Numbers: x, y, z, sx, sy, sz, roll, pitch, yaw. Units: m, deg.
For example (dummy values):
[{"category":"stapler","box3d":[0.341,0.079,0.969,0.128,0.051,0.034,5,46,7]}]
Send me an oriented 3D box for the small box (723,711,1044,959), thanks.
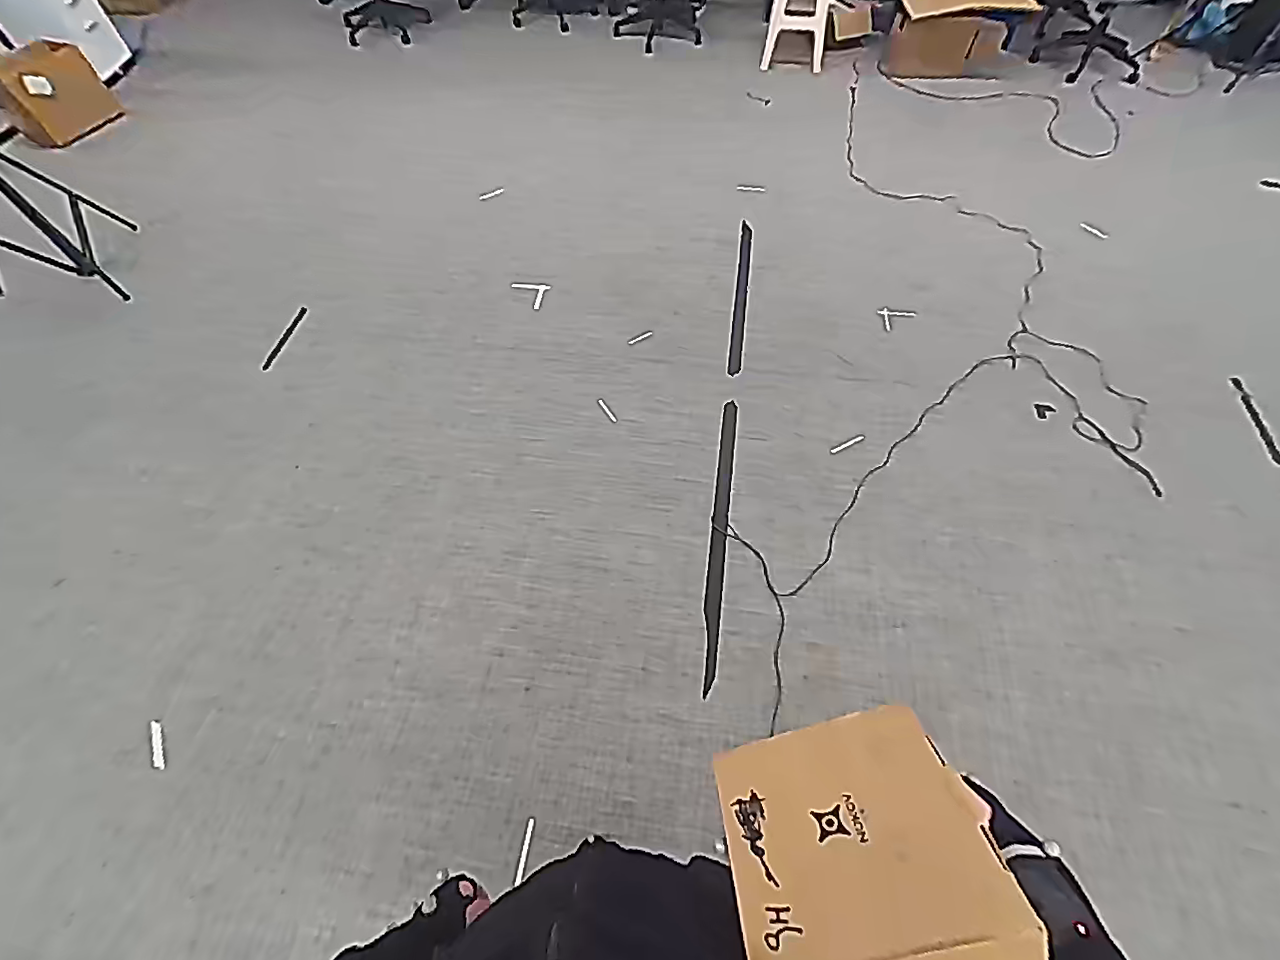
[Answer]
[{"category":"small box","box3d":[0.182,0.327,0.435,0.179,0.176,0.168,-18,23,7]}]
